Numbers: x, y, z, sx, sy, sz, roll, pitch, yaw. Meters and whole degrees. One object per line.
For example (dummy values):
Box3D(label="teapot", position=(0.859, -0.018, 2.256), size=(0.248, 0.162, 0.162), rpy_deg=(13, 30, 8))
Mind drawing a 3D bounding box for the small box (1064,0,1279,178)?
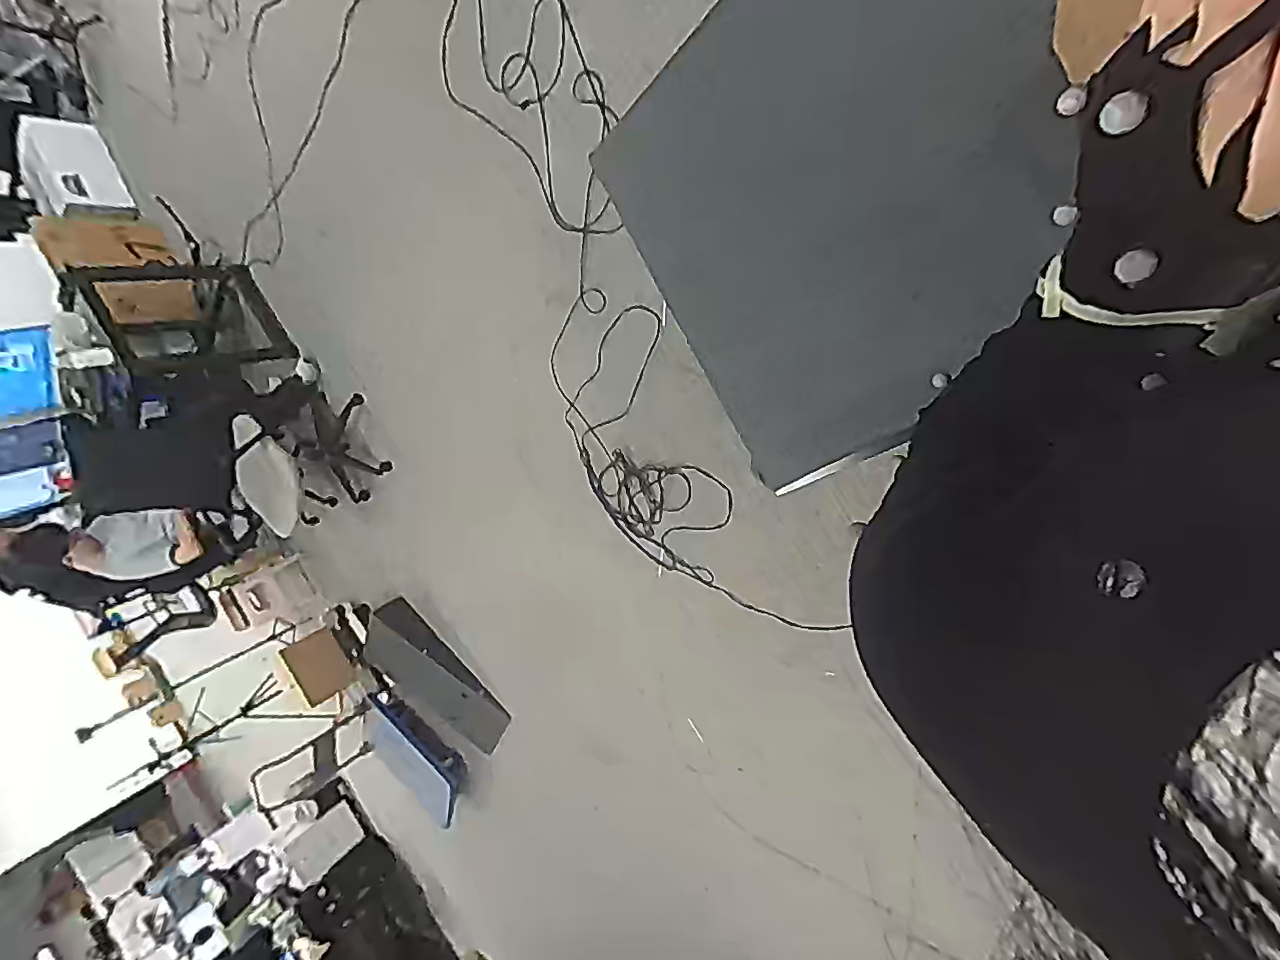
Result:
Box3D(label="small box", position=(0.448, -0.360, 0.403), size=(0.168, 0.176, 0.179), rpy_deg=(-28, 91, 40))
